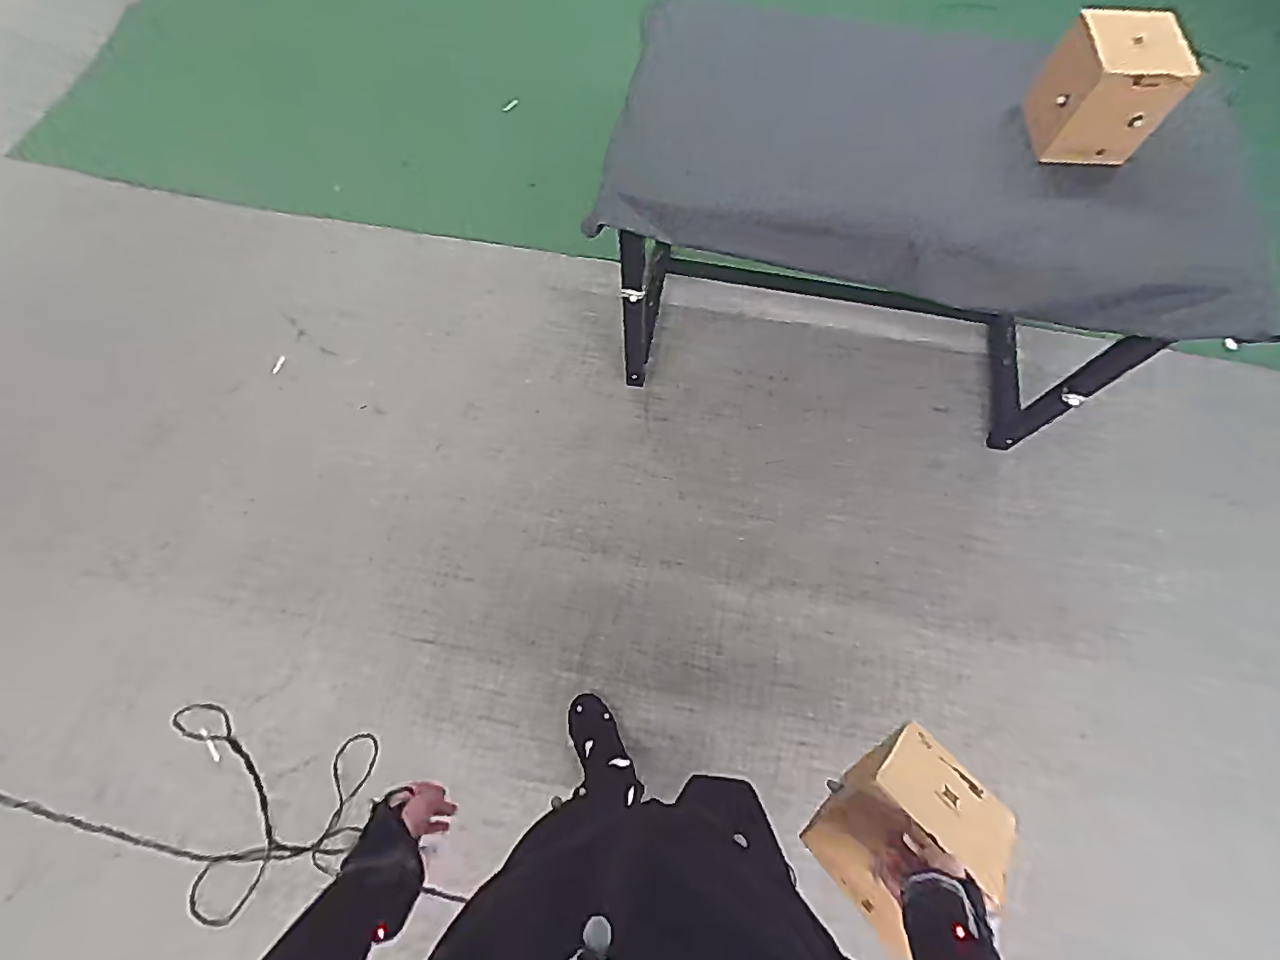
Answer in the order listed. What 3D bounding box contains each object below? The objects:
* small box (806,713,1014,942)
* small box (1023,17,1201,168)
[{"bbox_3d":[0.353,0.460,0.727,0.179,0.176,0.168,-9,48,-48],"label":"small box"},{"bbox_3d":[0.870,-0.722,1.018,0.168,0.176,0.179,3,68,-1],"label":"small box"}]
